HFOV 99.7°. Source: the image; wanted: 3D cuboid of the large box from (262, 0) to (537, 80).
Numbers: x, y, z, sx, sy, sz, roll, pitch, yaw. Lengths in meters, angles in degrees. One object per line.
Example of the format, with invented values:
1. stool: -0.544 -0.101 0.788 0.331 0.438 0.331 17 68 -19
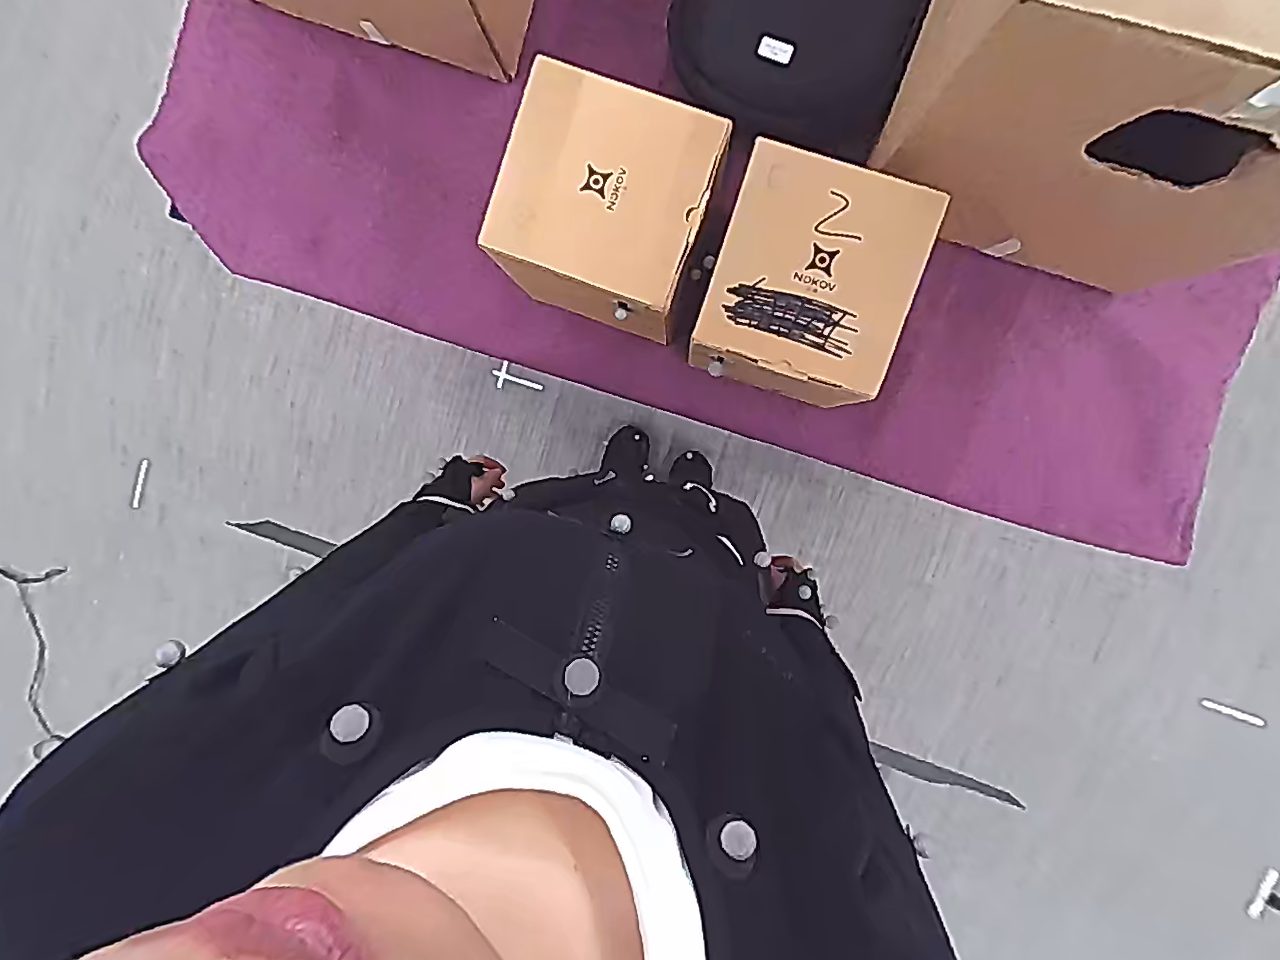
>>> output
1. large box: -0.233 -0.661 0.440 0.320 0.320 0.408 17 99 0
